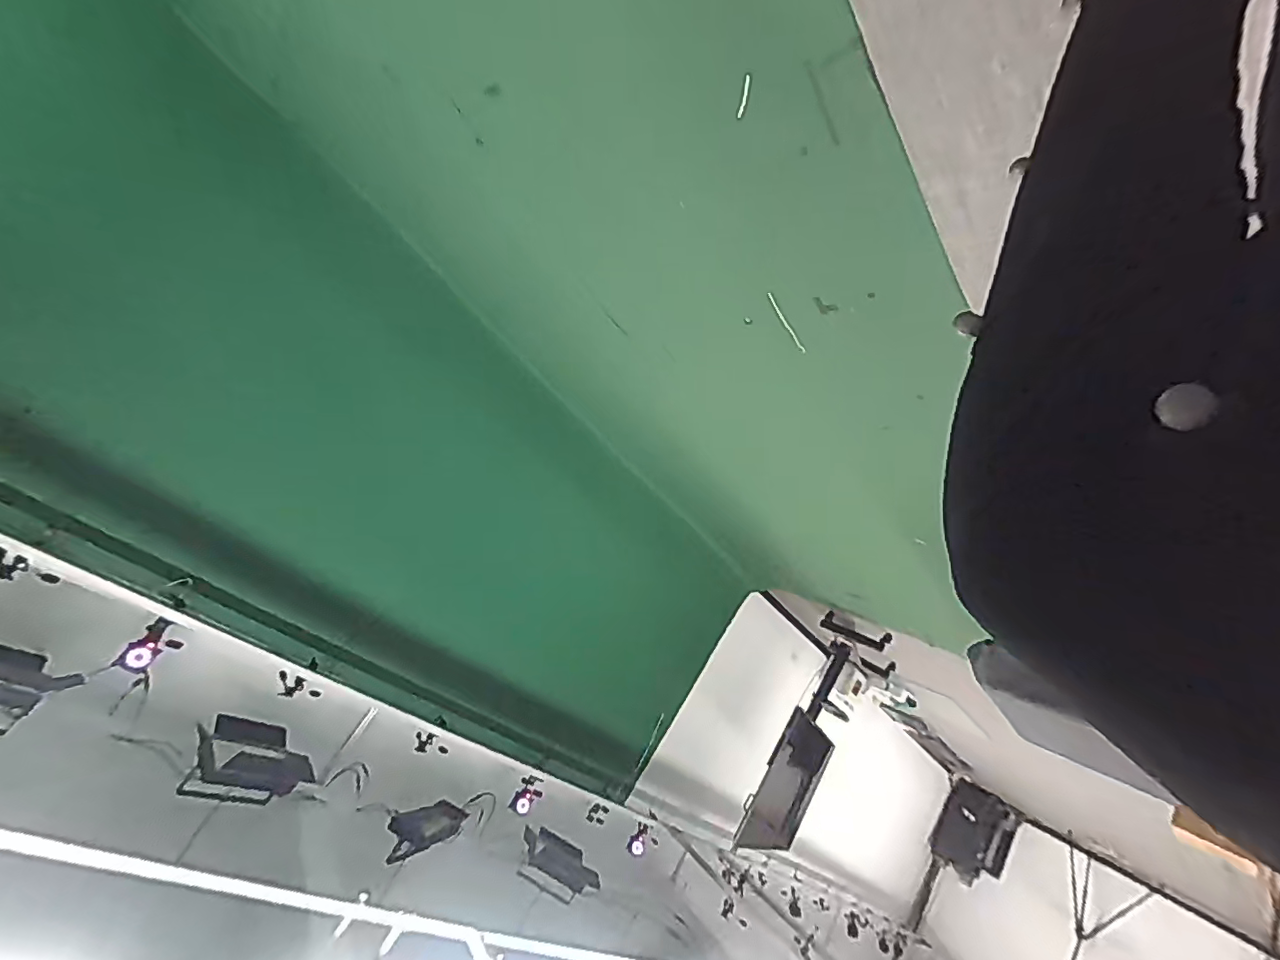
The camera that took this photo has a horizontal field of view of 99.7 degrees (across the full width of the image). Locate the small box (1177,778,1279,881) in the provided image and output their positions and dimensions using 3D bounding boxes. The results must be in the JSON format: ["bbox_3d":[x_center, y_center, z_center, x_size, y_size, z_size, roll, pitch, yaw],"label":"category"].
[{"bbox_3d":[1.711,1.009,1.570,0.168,0.176,0.179,44,163,-31],"label":"small box"}]
